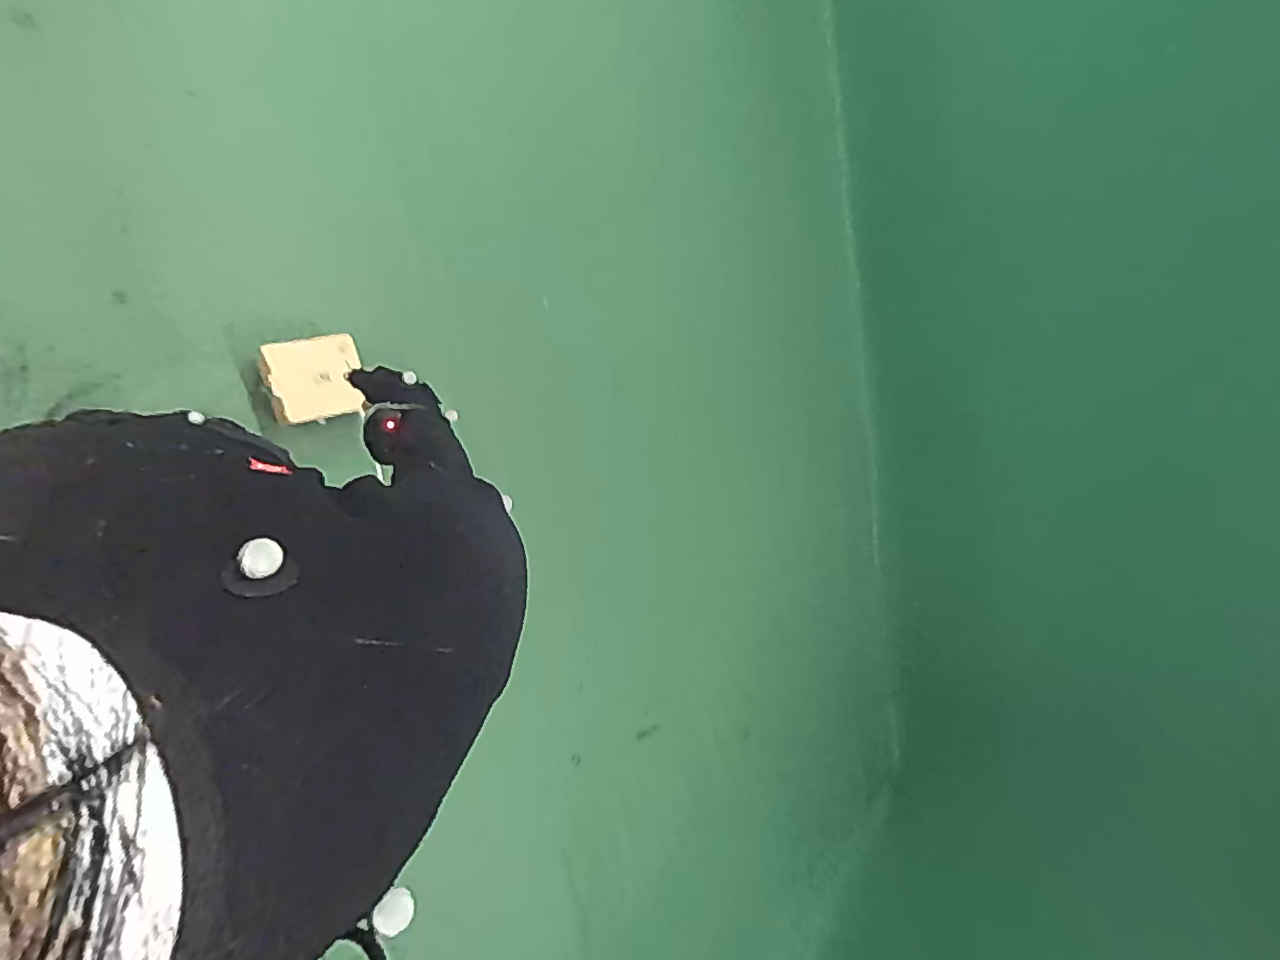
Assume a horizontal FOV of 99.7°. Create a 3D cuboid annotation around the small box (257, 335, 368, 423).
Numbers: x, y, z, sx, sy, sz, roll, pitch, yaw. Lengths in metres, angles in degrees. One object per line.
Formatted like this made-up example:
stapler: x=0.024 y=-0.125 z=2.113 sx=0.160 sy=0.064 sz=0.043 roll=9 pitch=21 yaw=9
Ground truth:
small box: x=-0.750 y=-0.227 z=1.233 sx=0.179 sy=0.176 sz=0.168 roll=-20 pitch=105 yaw=-35
